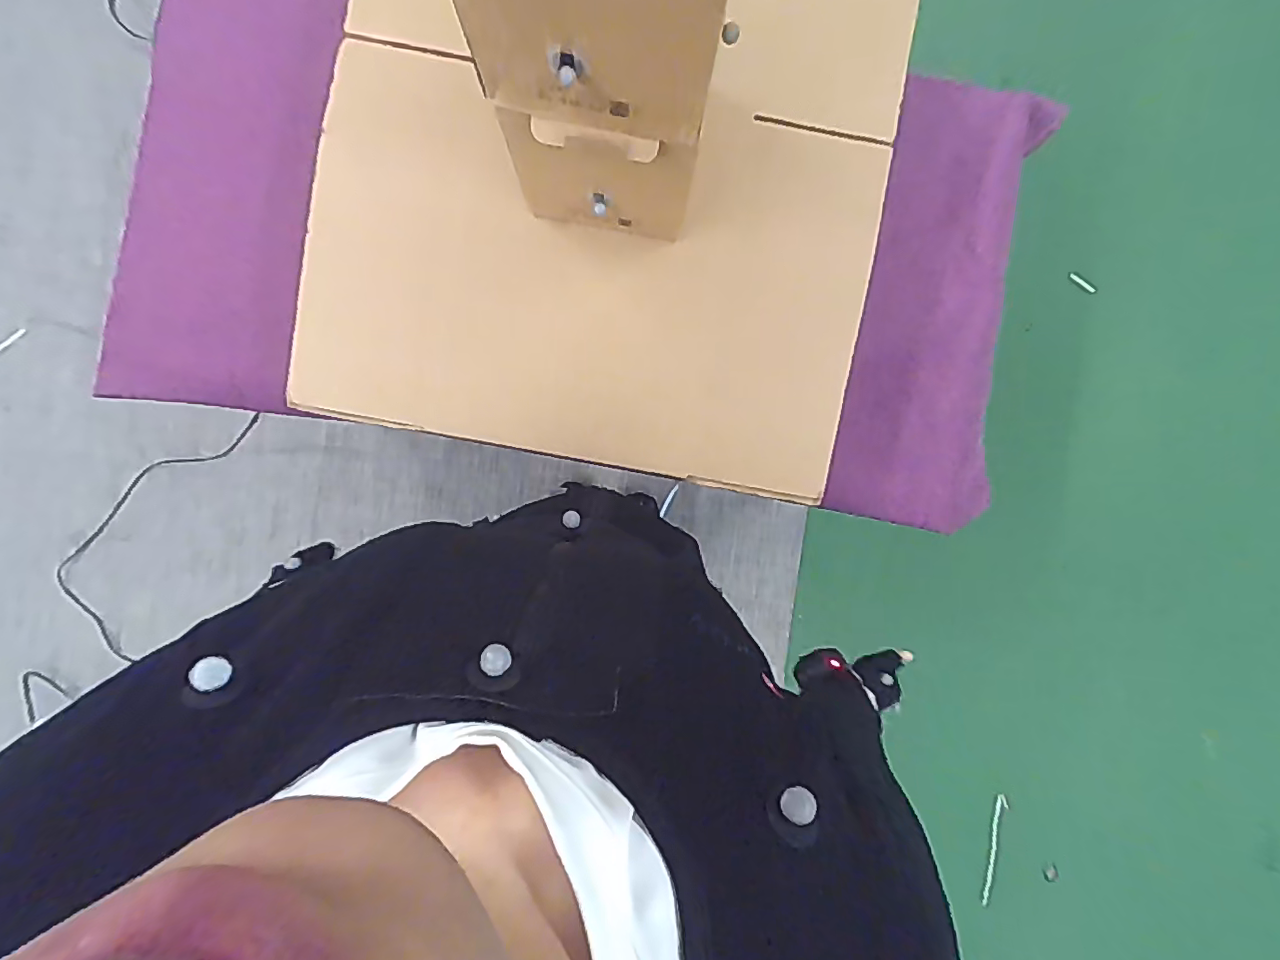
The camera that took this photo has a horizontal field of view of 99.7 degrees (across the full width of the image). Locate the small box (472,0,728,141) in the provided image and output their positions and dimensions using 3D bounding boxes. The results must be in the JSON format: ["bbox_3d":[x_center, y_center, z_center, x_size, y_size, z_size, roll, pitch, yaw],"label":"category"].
[{"bbox_3d":[-0.017,-0.365,0.344,0.168,0.176,0.179,11,89,-1],"label":"small box"}]

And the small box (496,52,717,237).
[{"bbox_3d":[-0.020,-0.362,0.506,0.168,0.176,0.179,11,89,-1],"label":"small box"}]
